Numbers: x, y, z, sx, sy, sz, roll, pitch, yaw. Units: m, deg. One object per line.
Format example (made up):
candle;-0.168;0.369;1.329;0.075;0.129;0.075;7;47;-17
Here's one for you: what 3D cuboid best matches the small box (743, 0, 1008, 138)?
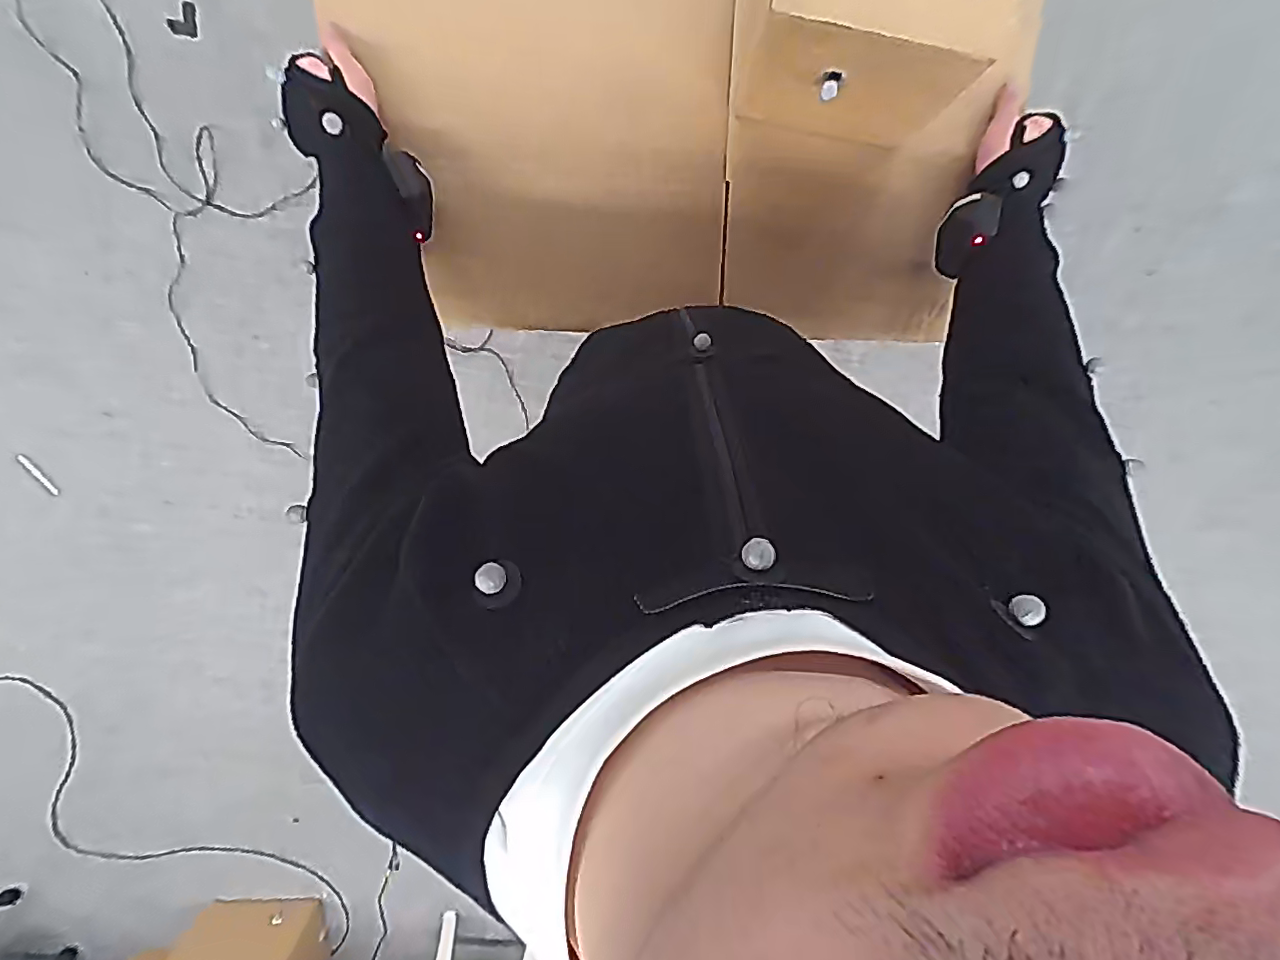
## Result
small box;0.197;-0.426;0.465;0.179;0.176;0.168;12;102;0
